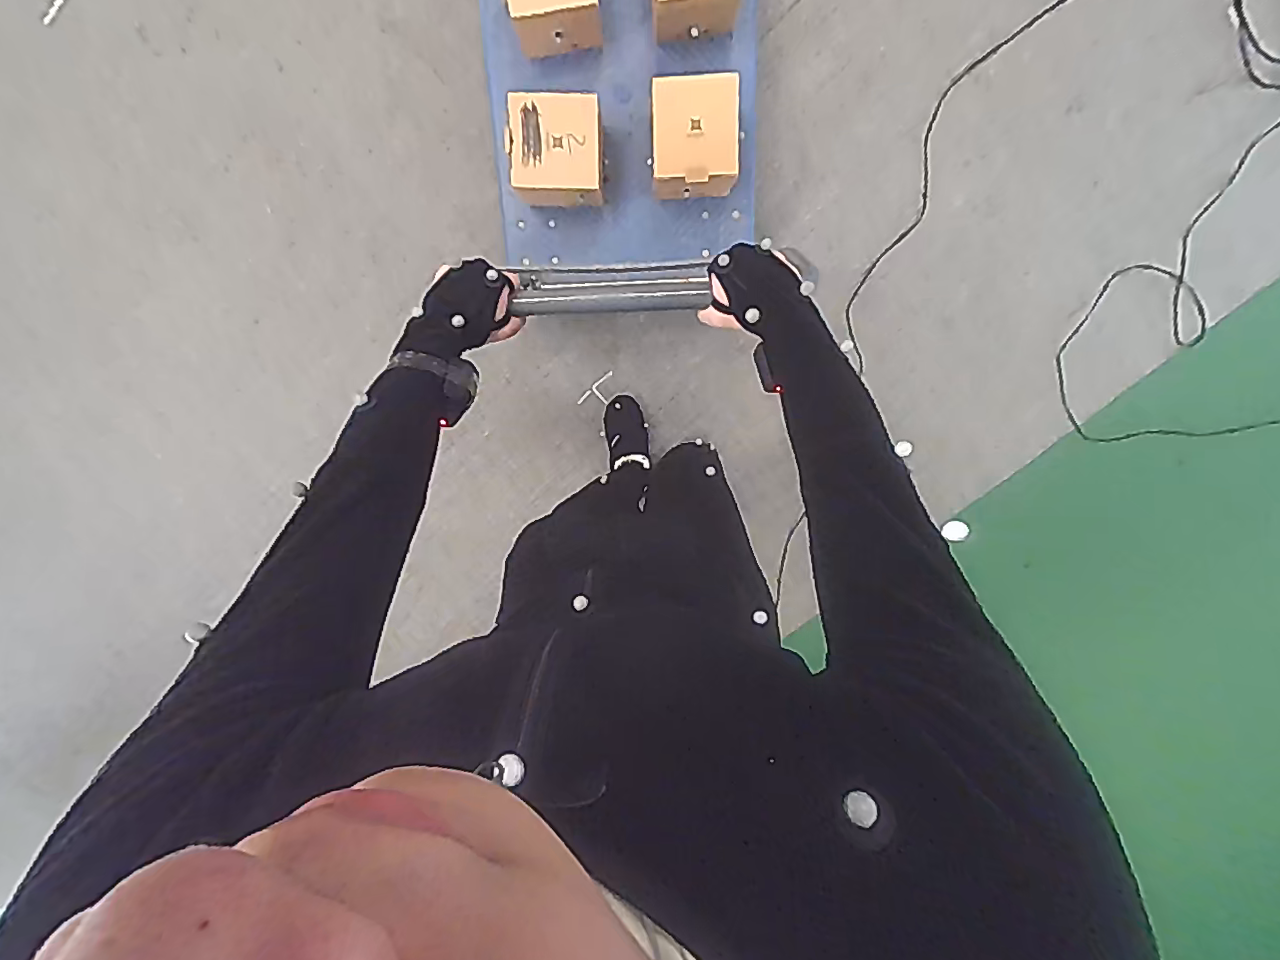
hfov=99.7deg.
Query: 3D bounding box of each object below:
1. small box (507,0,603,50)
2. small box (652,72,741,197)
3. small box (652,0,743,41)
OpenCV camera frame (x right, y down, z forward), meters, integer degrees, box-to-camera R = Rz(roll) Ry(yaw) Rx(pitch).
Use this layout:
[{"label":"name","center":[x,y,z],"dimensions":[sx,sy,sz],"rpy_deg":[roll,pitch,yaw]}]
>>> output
[{"label":"small box","center":[-0.167,-0.961,1.034],"dimensions":[0.168,0.176,0.179],"rpy_deg":[-7,107,2]},{"label":"small box","center":[0.110,-0.699,1.111],"dimensions":[0.168,0.176,0.179],"rpy_deg":[-2,107,1]},{"label":"small box","center":[0.103,-0.984,1.026],"dimensions":[0.168,0.176,0.179],"rpy_deg":[-7,107,3]}]
